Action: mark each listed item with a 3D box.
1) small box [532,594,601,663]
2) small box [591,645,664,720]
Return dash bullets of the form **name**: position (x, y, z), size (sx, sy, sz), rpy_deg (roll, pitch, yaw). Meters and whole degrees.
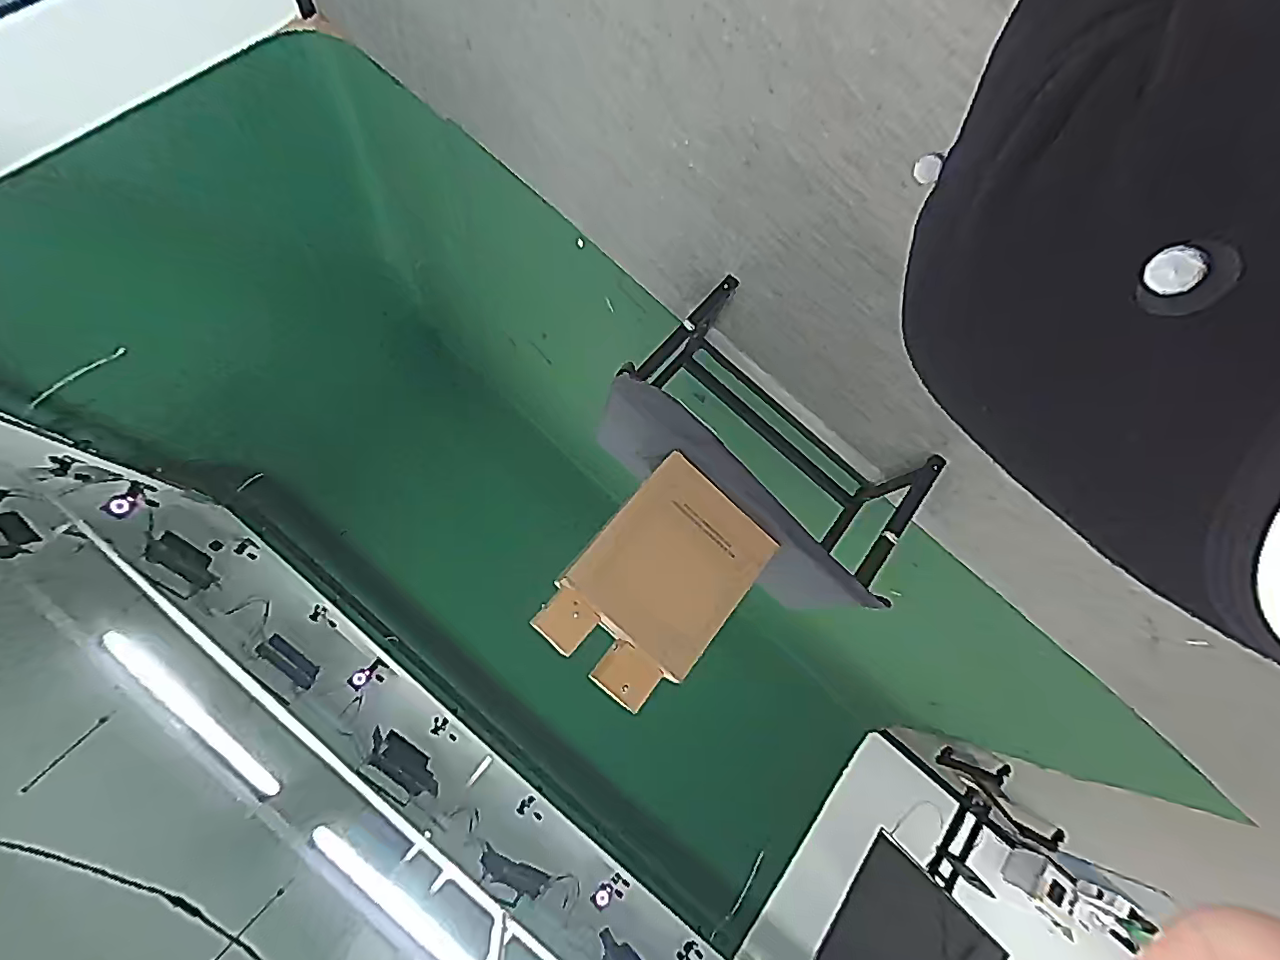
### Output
- **small box**: position (-0.260, 0.522, 1.916), size (0.168, 0.176, 0.179), rpy_deg (44, 158, -2)
- **small box**: position (-0.043, 0.711, 1.913), size (0.179, 0.176, 0.168), rpy_deg (44, 158, -2)
